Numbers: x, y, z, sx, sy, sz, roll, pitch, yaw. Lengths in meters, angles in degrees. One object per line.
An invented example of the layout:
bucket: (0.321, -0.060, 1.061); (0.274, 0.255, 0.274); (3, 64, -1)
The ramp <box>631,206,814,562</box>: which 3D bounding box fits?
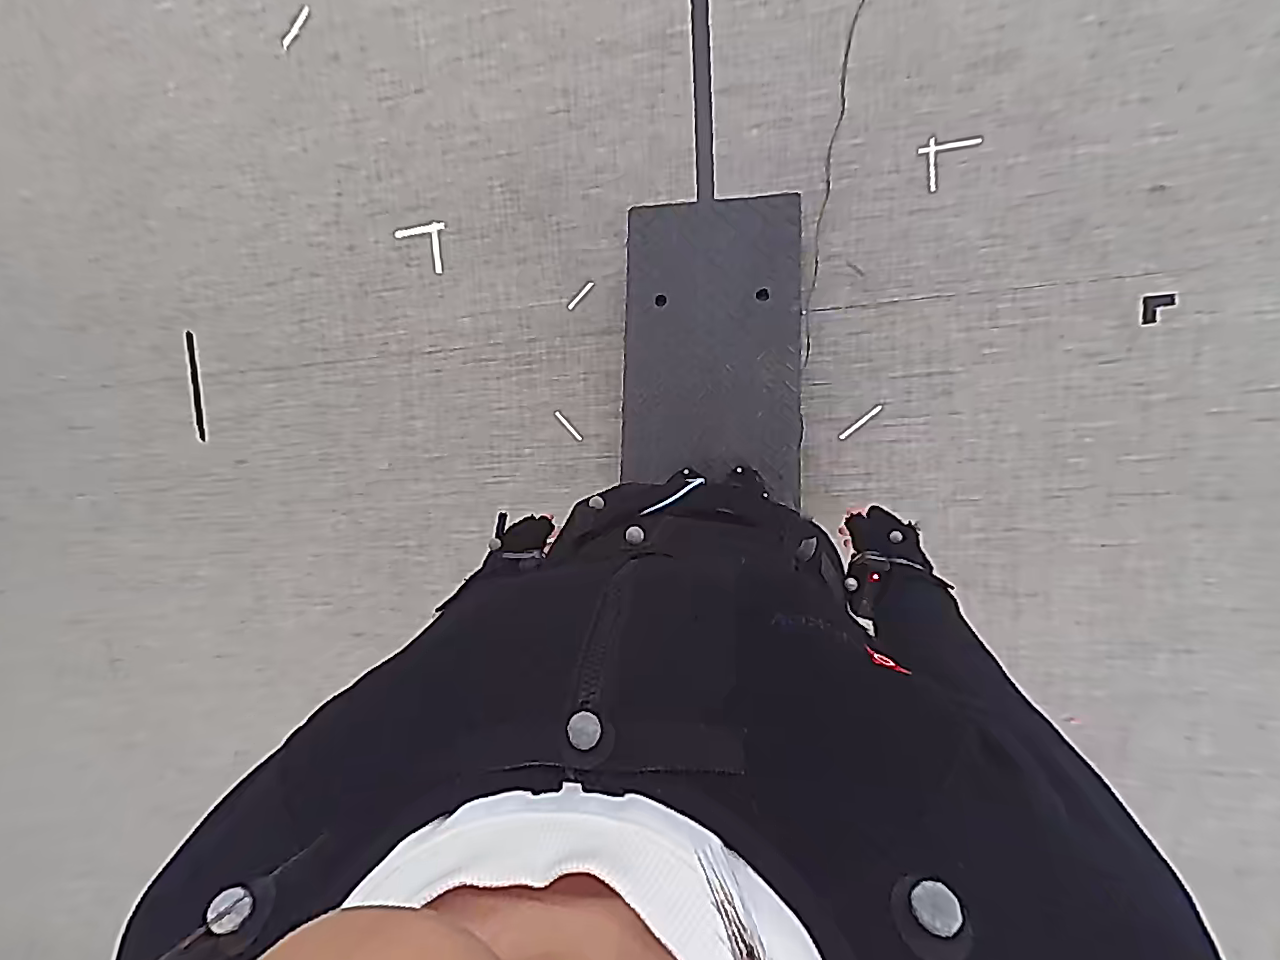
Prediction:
ramp: (0.215, -0.275, 1.514); (0.509, 0.206, 0.991); (-3, 92, 13)
